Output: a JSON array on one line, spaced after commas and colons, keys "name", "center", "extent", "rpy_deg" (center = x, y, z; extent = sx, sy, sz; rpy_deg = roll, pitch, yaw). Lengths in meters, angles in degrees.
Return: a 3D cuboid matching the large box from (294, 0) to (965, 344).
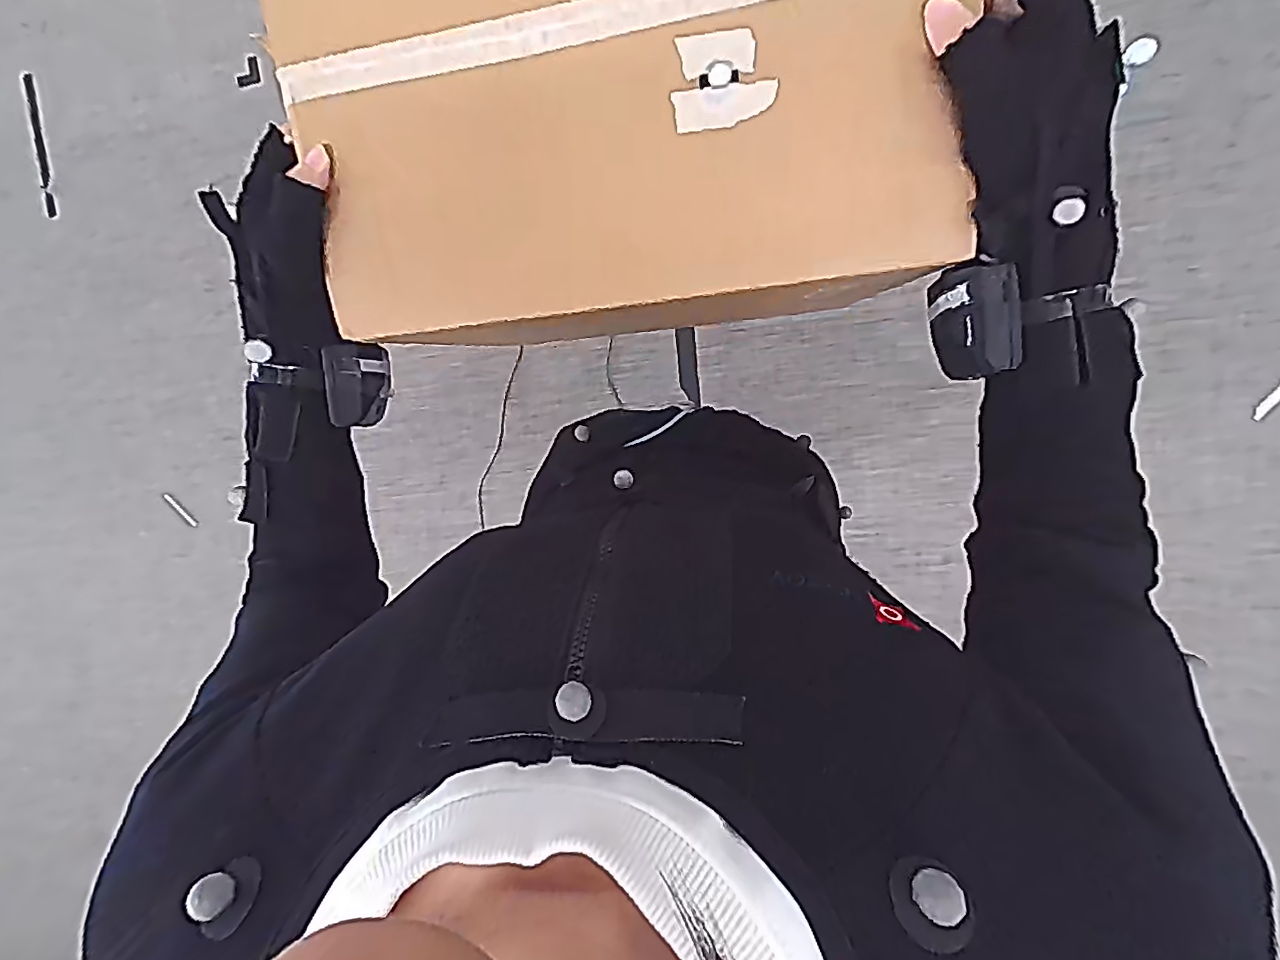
[{"name": "large box", "center": [-0.002, -0.304, 0.468], "extent": [0.408, 0.320, 0.320], "rpy_deg": [-5, 103, 8]}]
